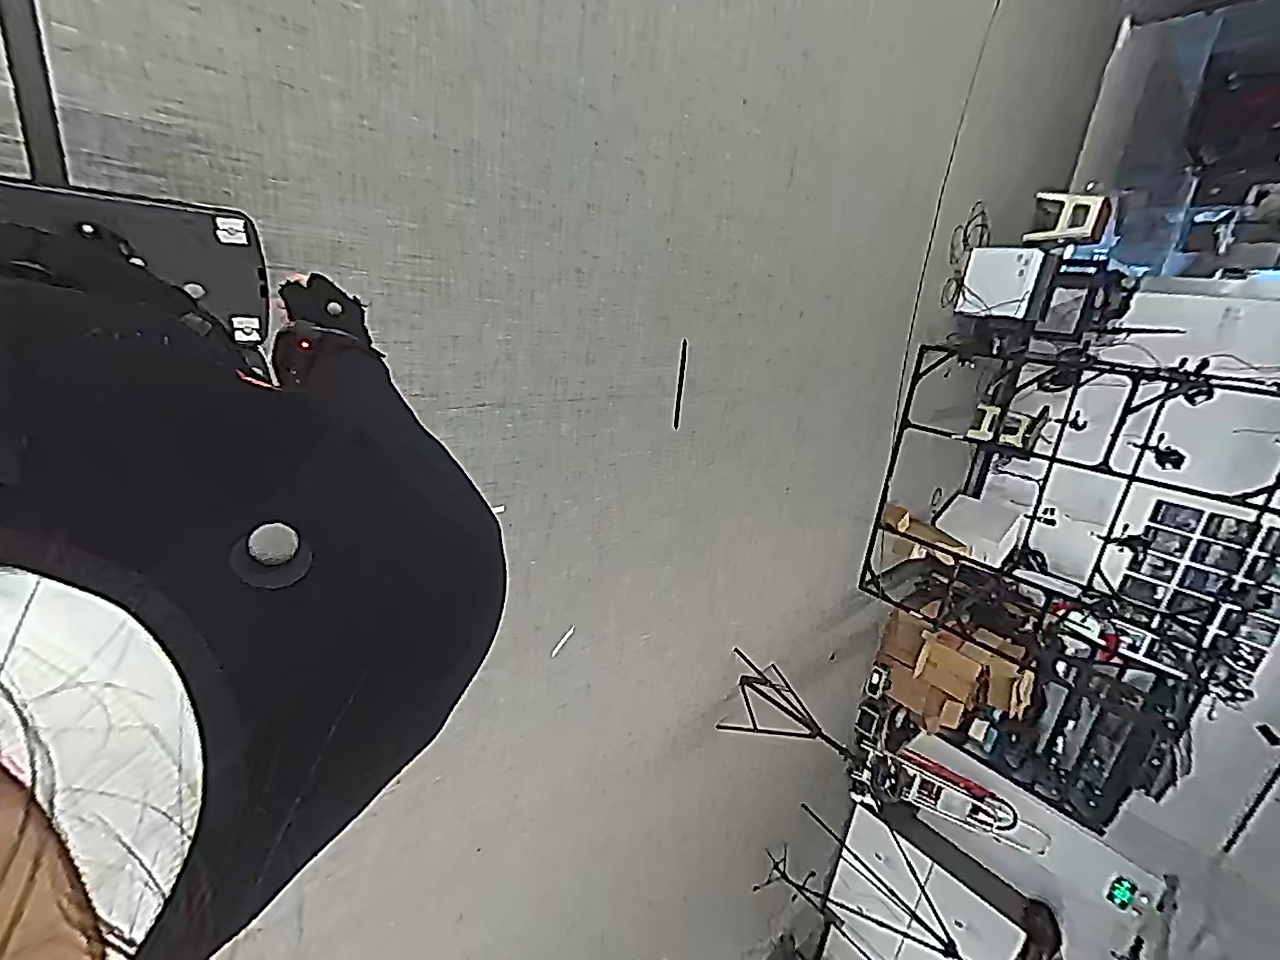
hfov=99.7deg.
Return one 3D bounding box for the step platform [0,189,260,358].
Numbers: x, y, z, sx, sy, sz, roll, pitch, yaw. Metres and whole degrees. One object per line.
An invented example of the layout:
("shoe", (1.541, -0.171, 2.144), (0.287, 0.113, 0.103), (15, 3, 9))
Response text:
("step platform", (-1.128, -0.383, 1.009), (0.684, 0.204, 0.286), (-13, 117, -41))
